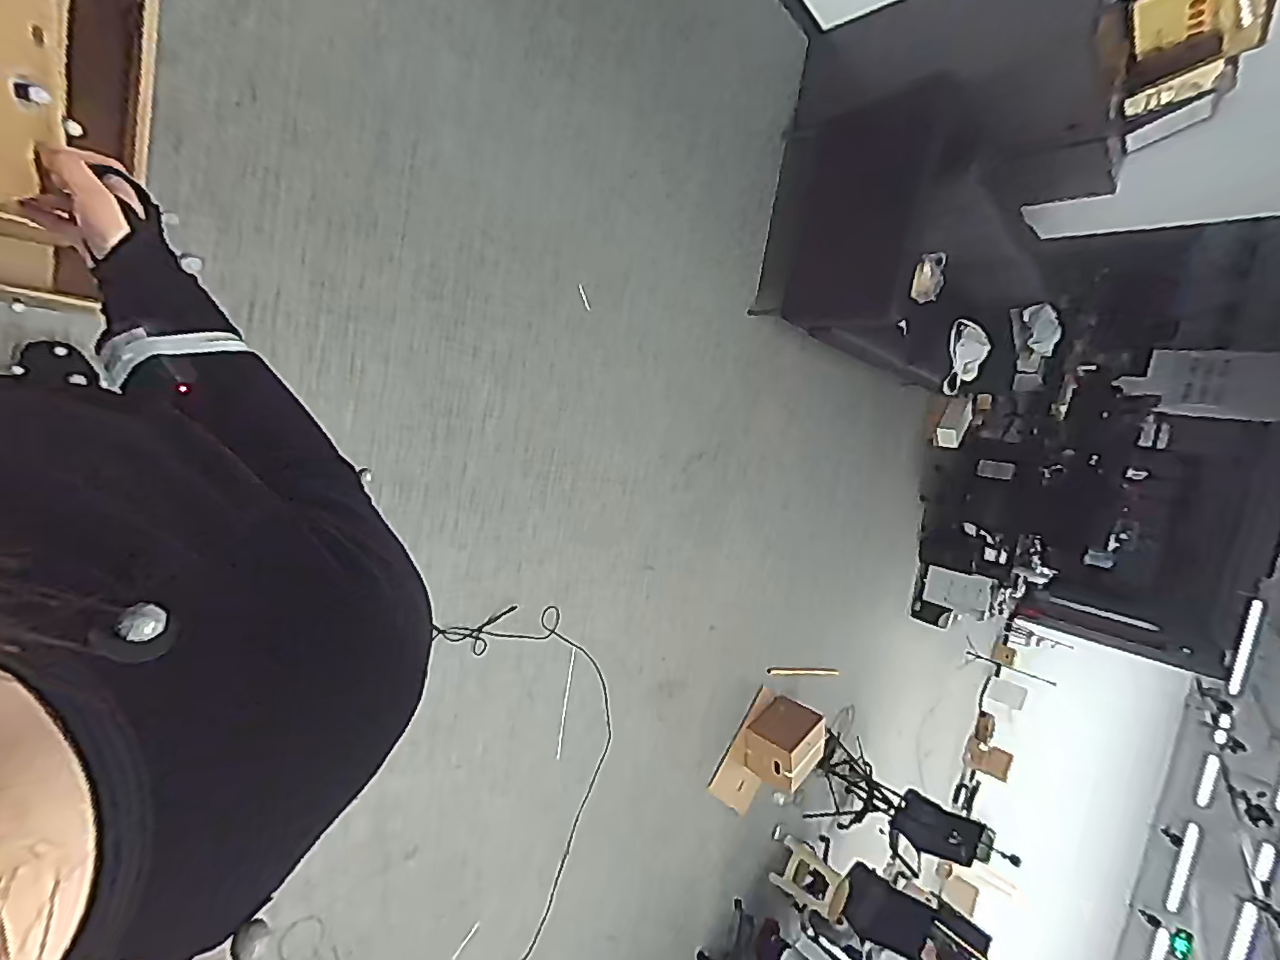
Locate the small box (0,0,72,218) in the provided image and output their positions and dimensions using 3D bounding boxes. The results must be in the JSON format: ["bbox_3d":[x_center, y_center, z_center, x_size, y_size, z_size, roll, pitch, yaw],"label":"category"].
[{"bbox_3d":[-0.604,-0.343,0.458,0.168,0.176,0.179,0,102,-46],"label":"small box"}]

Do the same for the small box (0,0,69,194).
[{"bbox_3d":[-0.484,-0.273,0.308,0.179,0.176,0.168,4,119,-32],"label":"small box"}]
